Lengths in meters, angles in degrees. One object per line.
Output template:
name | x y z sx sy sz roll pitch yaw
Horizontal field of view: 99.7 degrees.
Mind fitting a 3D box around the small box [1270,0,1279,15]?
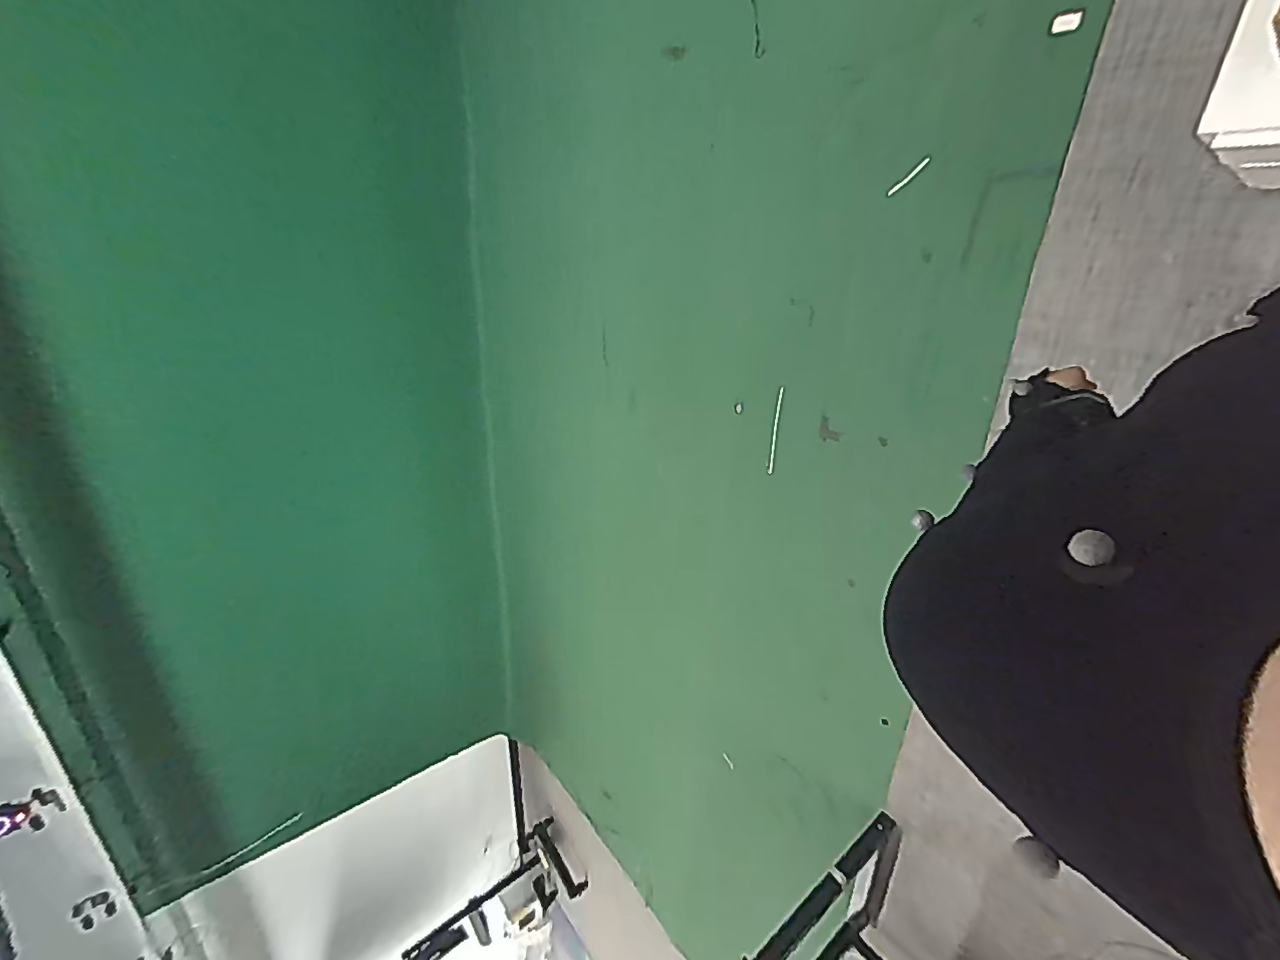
small box | 0.662 -0.446 0.418 0.179 0.176 0.168 34 127 40
